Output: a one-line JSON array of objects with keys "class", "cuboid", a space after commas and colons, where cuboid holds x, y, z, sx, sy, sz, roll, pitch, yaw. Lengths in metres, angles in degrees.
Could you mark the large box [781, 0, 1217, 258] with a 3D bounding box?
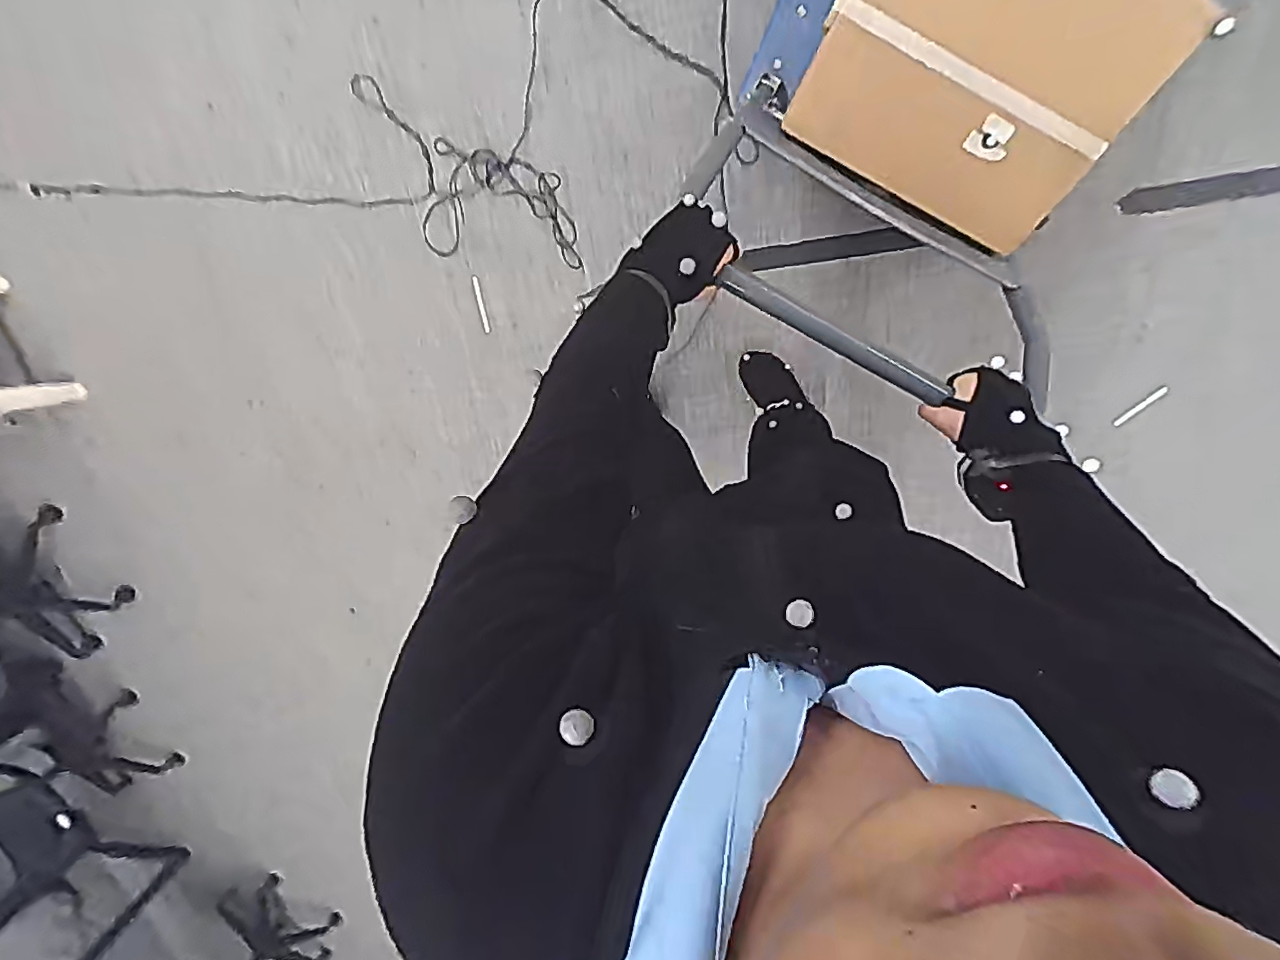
[{"class": "large box", "cuboid": [0.475, -0.614, 0.823, 0.408, 0.320, 0.320, 27, 134, -4]}]
